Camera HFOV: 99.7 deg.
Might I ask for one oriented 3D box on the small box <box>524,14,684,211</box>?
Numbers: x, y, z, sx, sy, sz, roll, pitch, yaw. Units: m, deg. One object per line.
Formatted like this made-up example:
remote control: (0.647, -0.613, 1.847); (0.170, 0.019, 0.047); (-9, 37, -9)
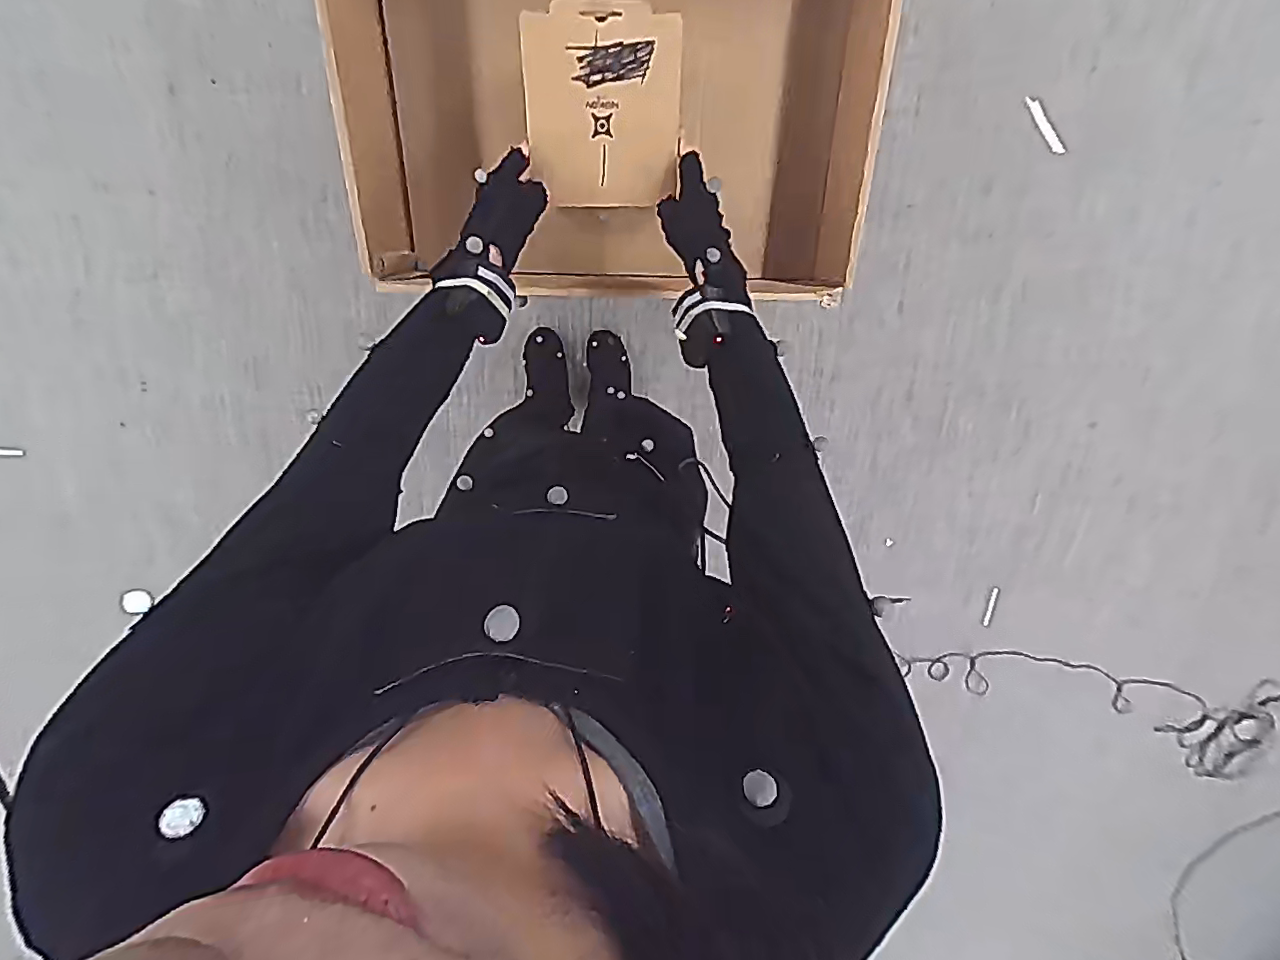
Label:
small box: (-0.040, -0.424, 0.653); (0.168, 0.176, 0.179); (-1, 117, -1)
